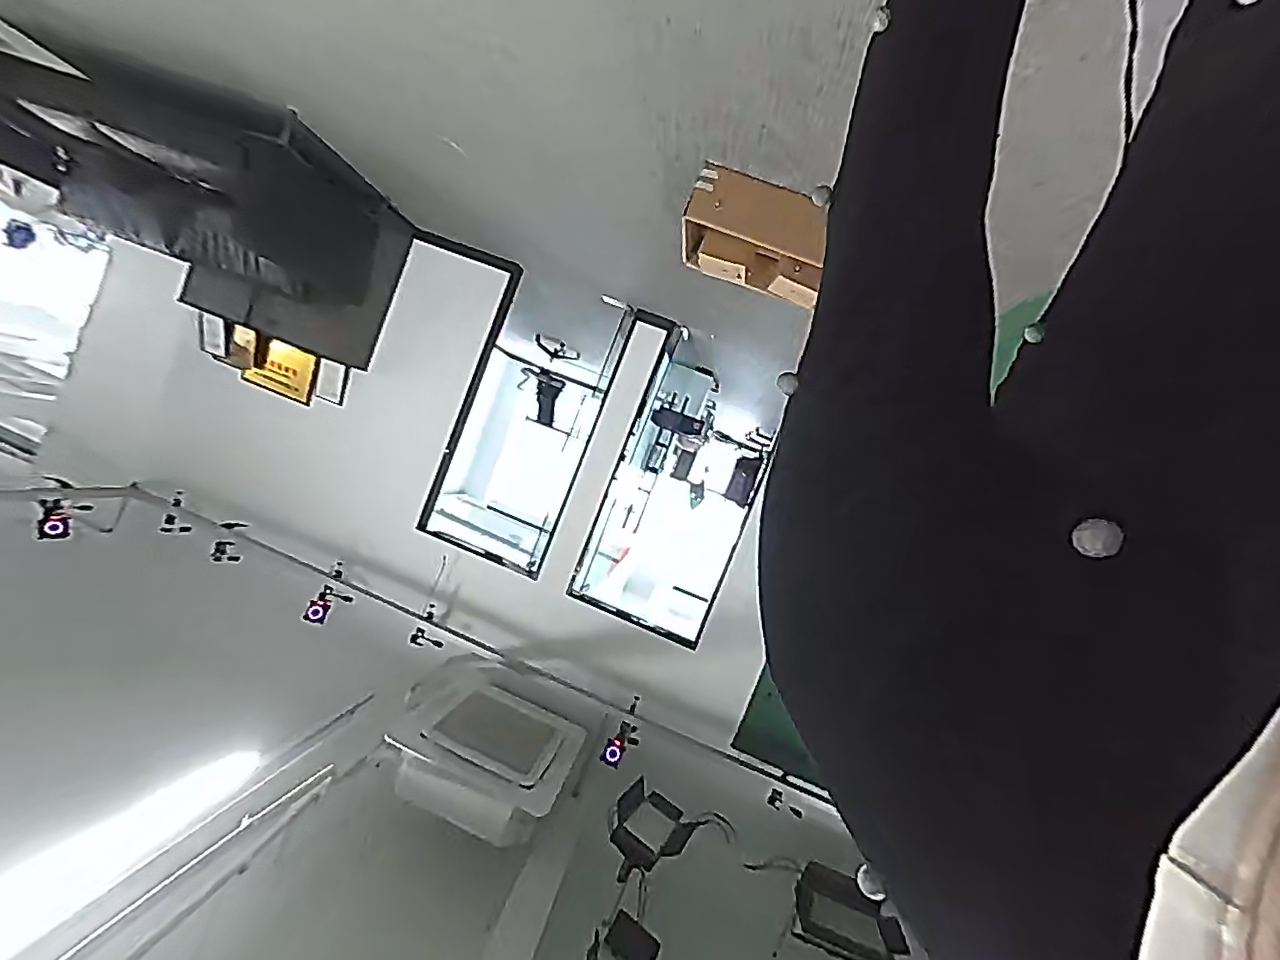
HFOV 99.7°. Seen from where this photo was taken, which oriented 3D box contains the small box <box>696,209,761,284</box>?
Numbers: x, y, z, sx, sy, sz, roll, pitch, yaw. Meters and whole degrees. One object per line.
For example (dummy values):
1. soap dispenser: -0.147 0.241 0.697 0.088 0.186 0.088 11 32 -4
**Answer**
1. small box: 0.315 -0.834 1.925 0.179 0.176 0.168 21 -178 10
